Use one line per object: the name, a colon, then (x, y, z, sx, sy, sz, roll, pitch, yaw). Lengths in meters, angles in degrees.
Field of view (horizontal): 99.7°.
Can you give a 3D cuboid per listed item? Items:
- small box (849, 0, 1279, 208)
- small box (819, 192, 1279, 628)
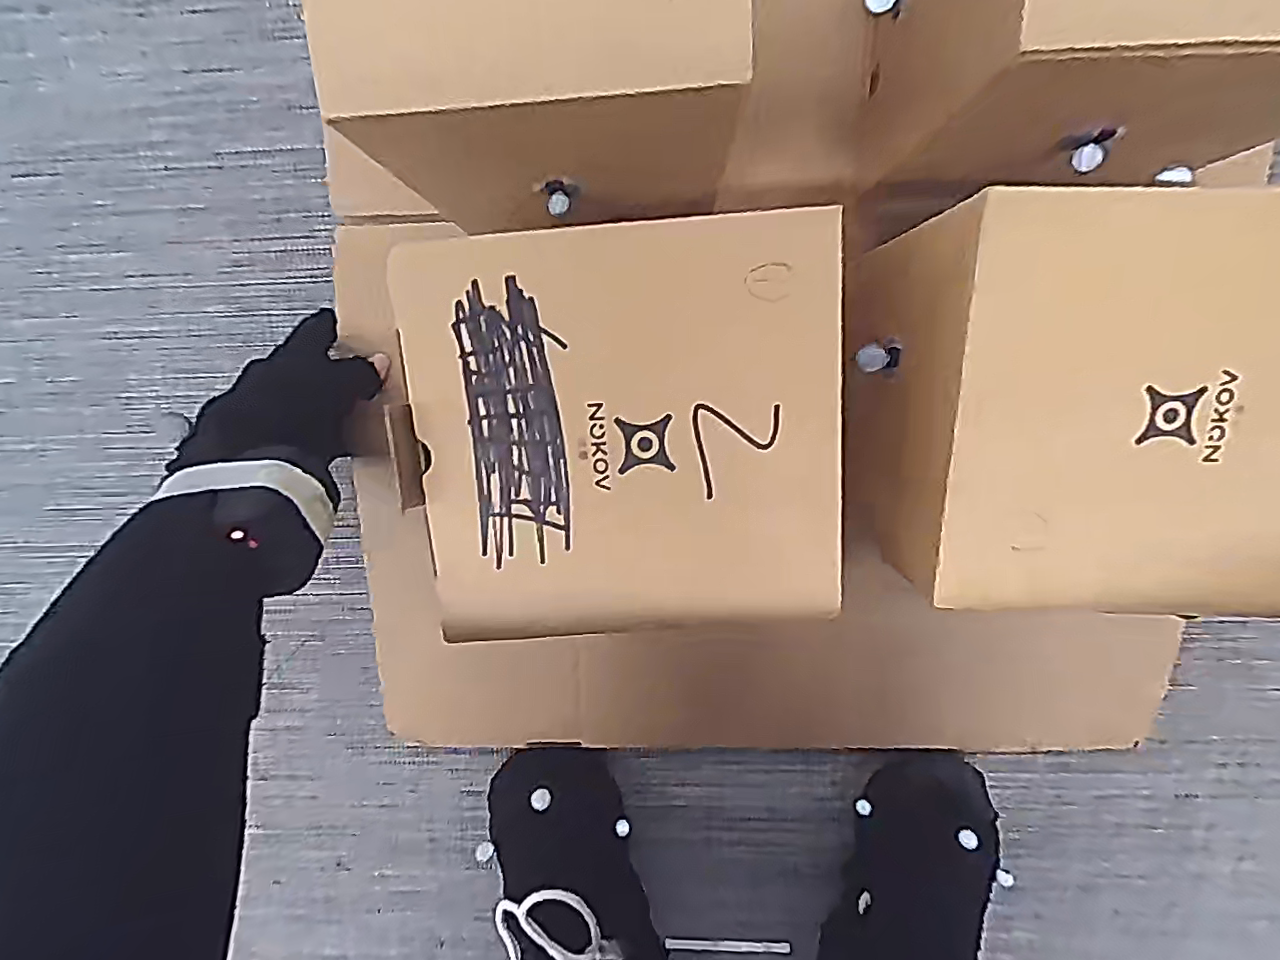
small box: (0.220, -0.240, 0.256, 0.179, 0.176, 0.168, 1, 101, 3)
small box: (0.208, -0.038, 0.288, 0.179, 0.176, 0.168, 2, 103, 1)
